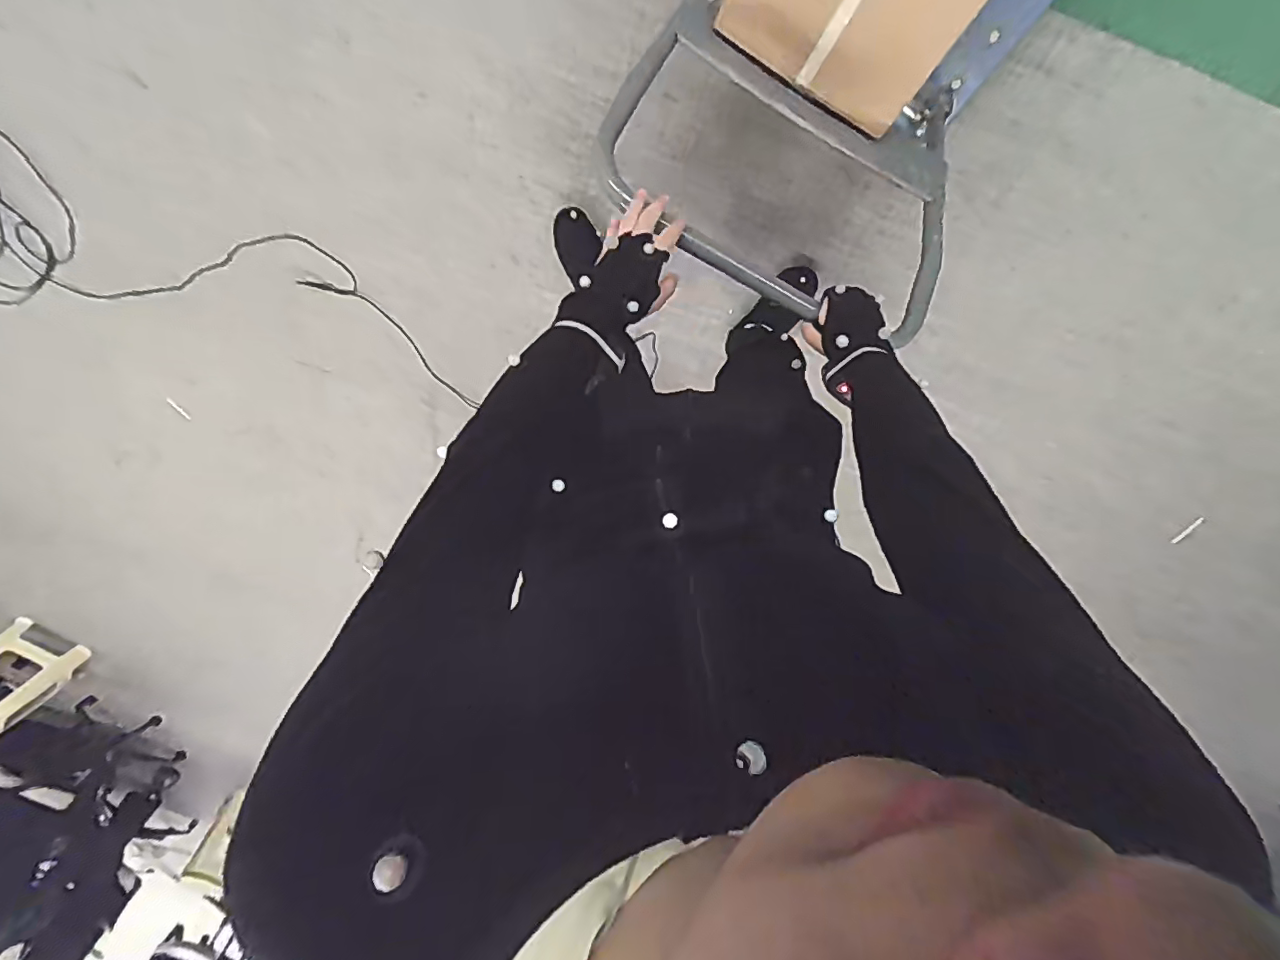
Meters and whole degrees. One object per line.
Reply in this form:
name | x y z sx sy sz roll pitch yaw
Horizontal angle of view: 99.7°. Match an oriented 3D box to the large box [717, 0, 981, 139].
large box | 0.363 -0.819 0.779 0.320 0.320 0.408 27 143 -10
